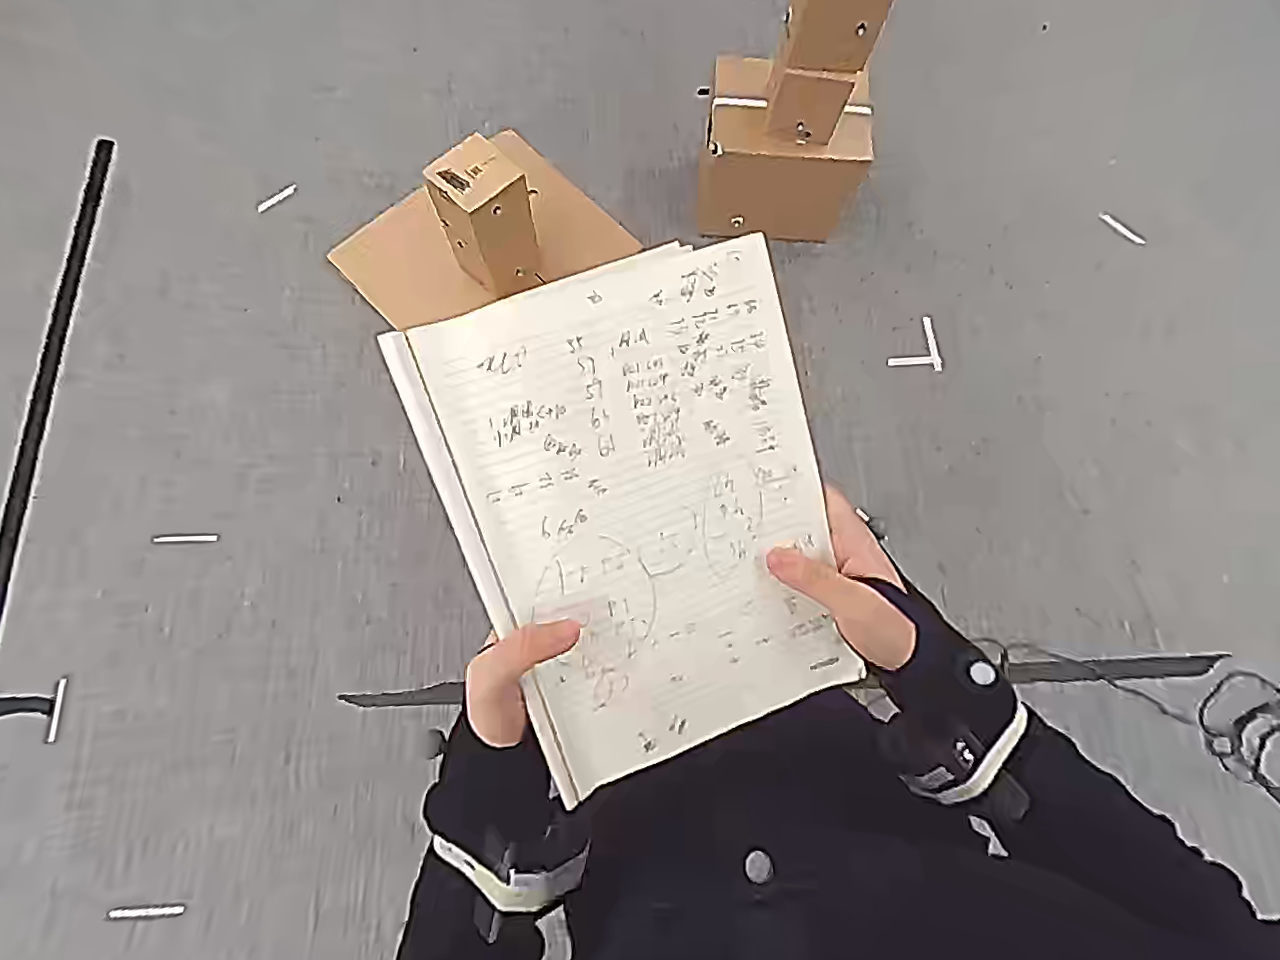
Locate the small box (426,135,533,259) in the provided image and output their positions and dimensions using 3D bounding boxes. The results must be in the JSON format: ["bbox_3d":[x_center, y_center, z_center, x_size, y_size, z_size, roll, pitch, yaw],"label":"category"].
[{"bbox_3d":[-0.384,-0.687,1.332,0.168,0.176,0.179,43,76,8],"label":"small box"}]

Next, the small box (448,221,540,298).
[{"bbox_3d":[-0.392,-0.644,1.491,0.168,0.176,0.179,42,76,8],"label":"small box"}]

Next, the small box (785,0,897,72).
[{"bbox_3d":[0.419,-1.004,1.142,0.179,0.176,0.168,1,74,-1],"label":"small box"}]
